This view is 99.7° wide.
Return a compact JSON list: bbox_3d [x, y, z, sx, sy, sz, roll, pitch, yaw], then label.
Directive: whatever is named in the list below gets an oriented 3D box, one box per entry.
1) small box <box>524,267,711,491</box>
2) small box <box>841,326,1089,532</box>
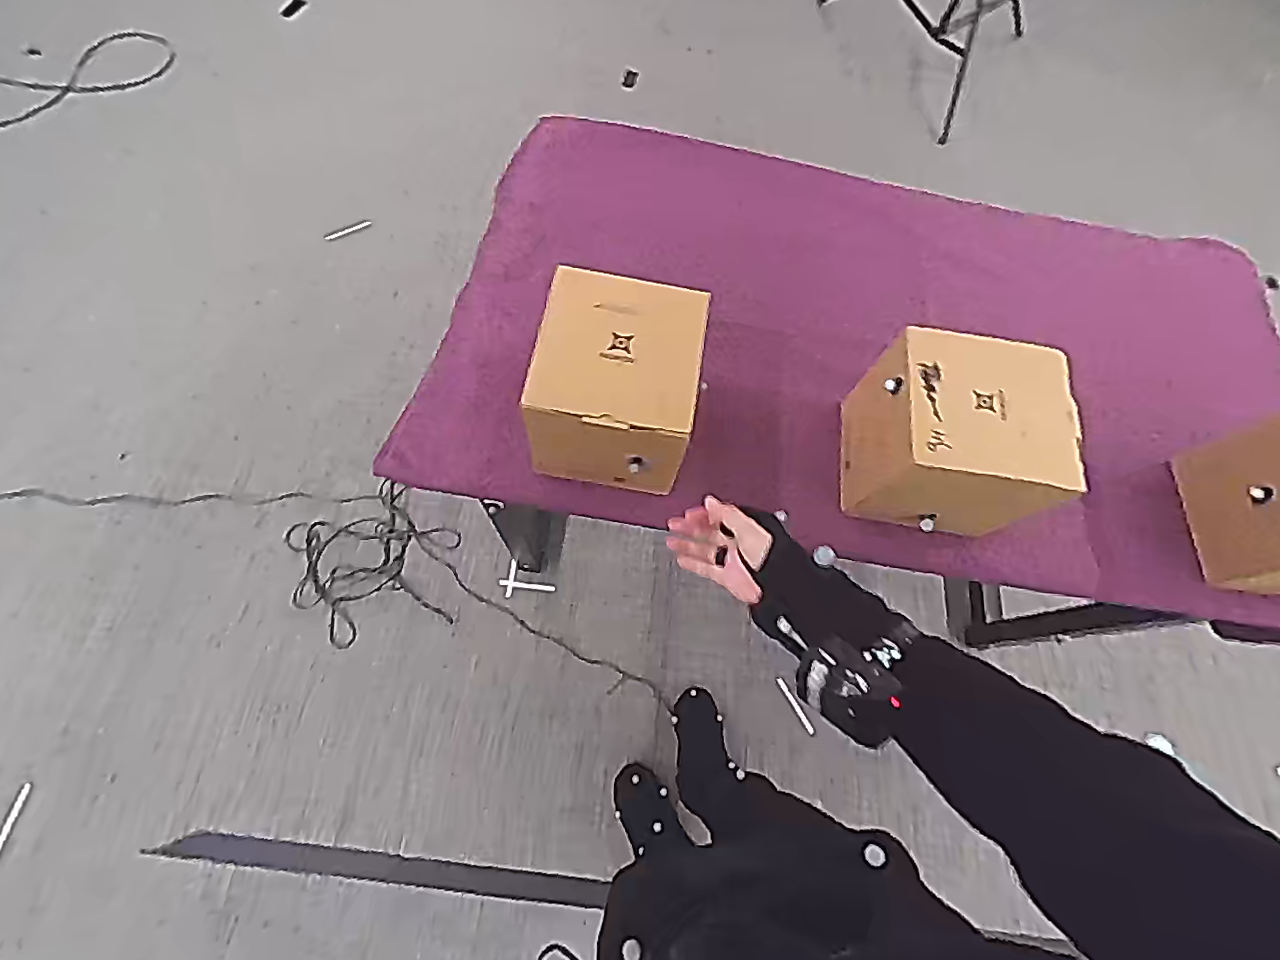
[{"bbox_3d":[-0.024,-0.101,0.610,0.168,0.176,0.179,10,67,-3],"label":"small box"},{"bbox_3d":[0.354,-0.046,0.621,0.179,0.176,0.168,10,68,-2],"label":"small box"}]
